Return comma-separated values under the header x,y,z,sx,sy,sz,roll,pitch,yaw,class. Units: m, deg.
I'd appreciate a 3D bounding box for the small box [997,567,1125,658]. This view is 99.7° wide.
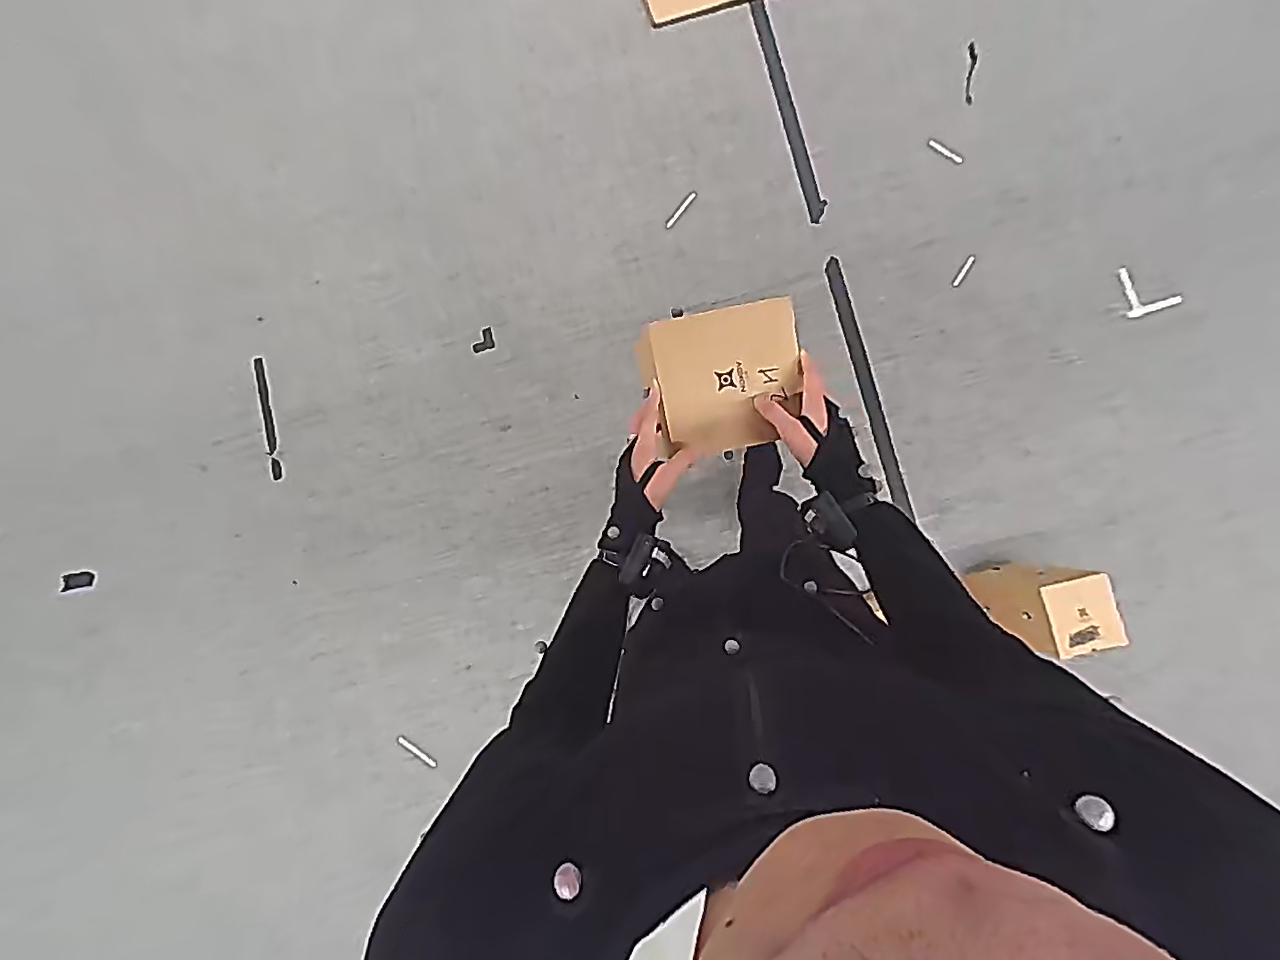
x,y,z,sx,sy,sz,roll,pitch,yaw,class
1.047,0.326,1.359,0.168,0.176,0.179,-13,84,0,small box

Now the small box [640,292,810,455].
x,y,z,sx,sy,sz,roll,pitch,yaw,class
0.099,-0.133,0.711,0.179,0.176,0.168,-12,98,-4,small box
